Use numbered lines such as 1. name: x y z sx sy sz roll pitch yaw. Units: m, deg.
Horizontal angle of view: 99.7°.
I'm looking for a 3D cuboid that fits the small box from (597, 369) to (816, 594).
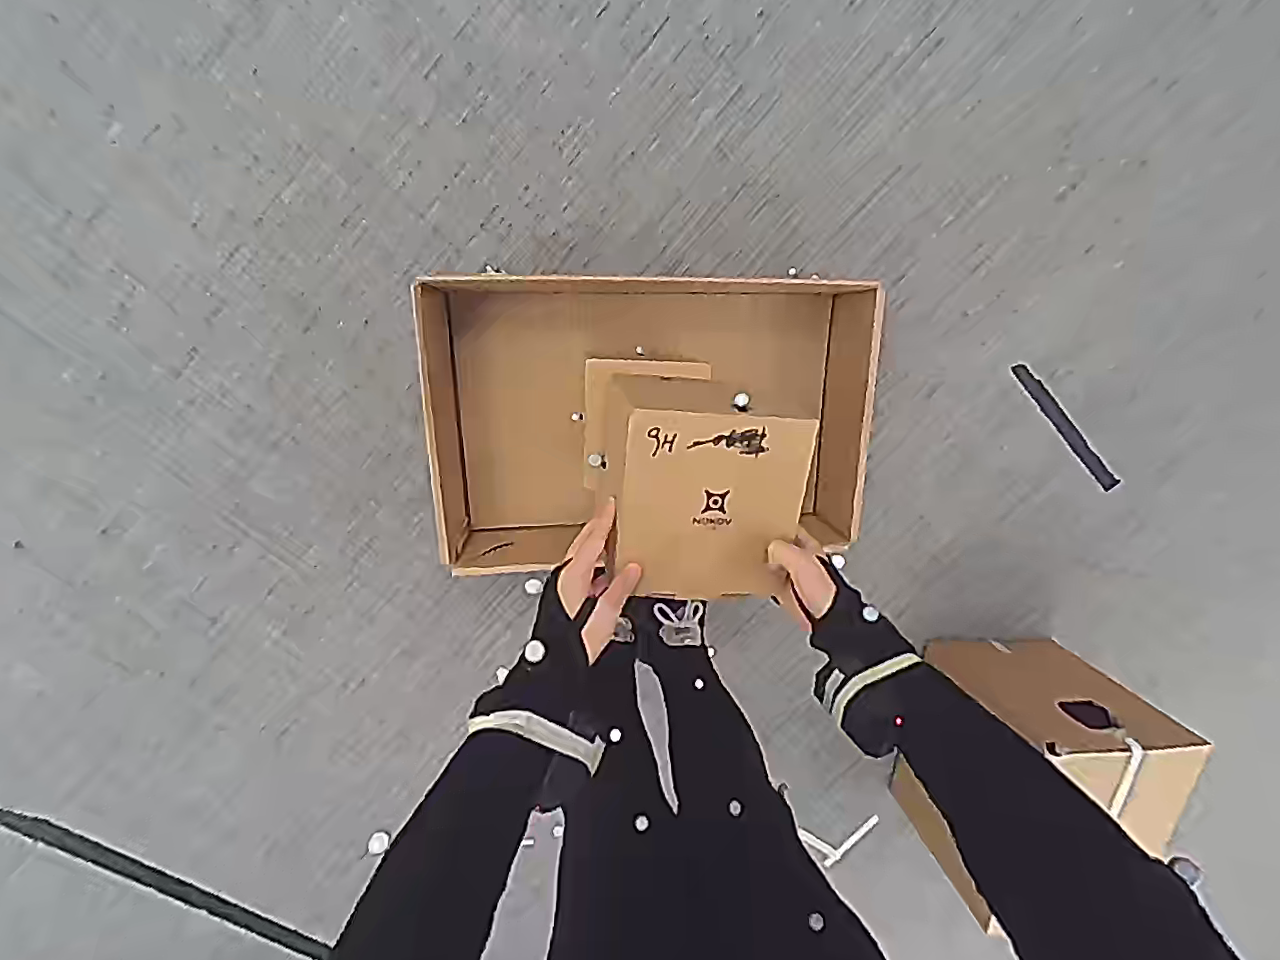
1. small box: 0.049 -0.004 0.548 0.168 0.176 0.179 2 111 -11
